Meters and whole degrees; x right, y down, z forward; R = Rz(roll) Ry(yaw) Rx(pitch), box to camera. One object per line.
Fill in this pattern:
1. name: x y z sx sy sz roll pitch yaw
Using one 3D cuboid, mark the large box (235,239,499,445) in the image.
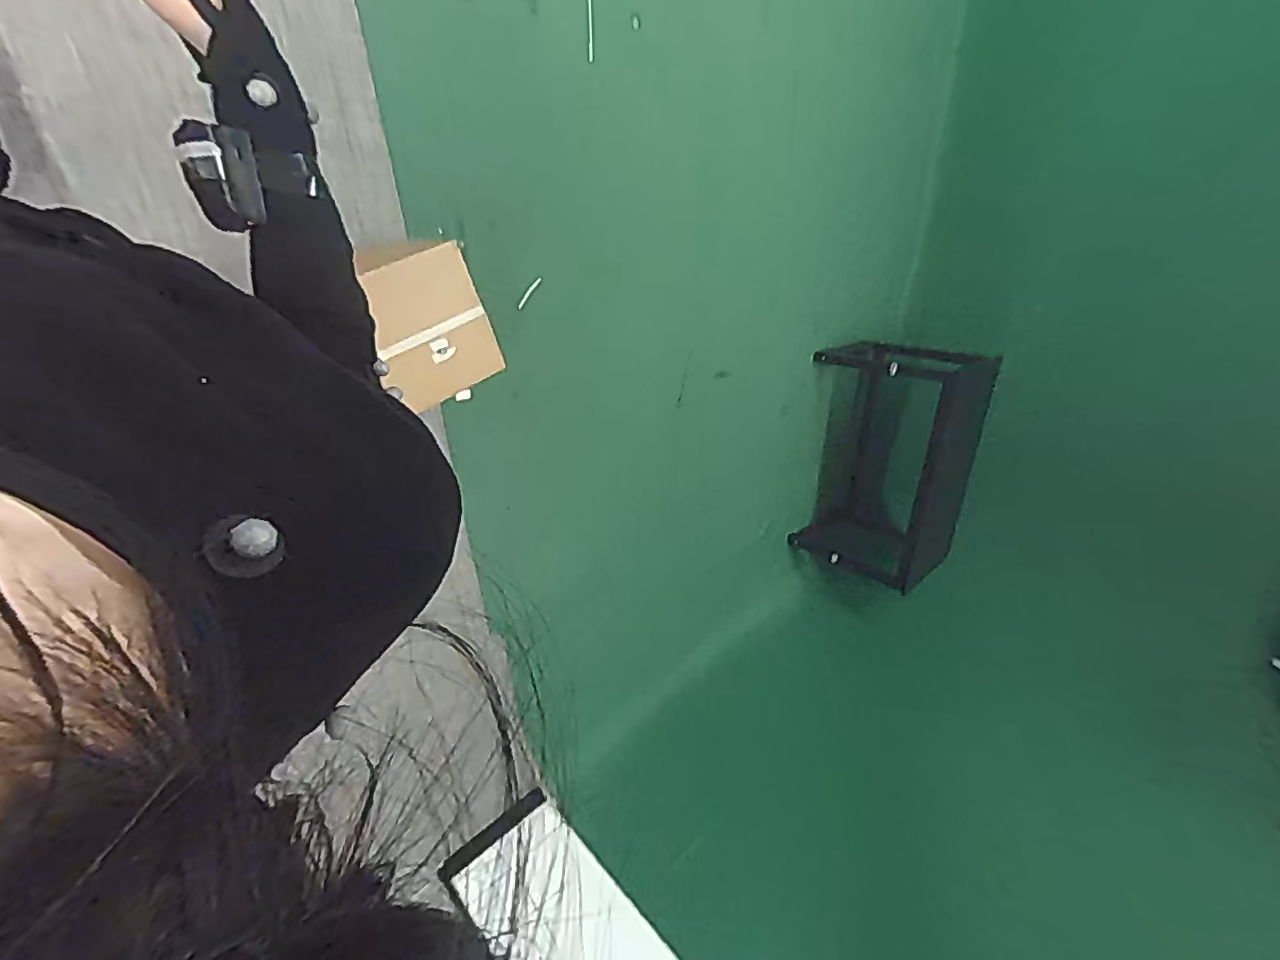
1. large box: -0.623 -0.341 1.267 0.408 0.320 0.320 -38 132 -29
